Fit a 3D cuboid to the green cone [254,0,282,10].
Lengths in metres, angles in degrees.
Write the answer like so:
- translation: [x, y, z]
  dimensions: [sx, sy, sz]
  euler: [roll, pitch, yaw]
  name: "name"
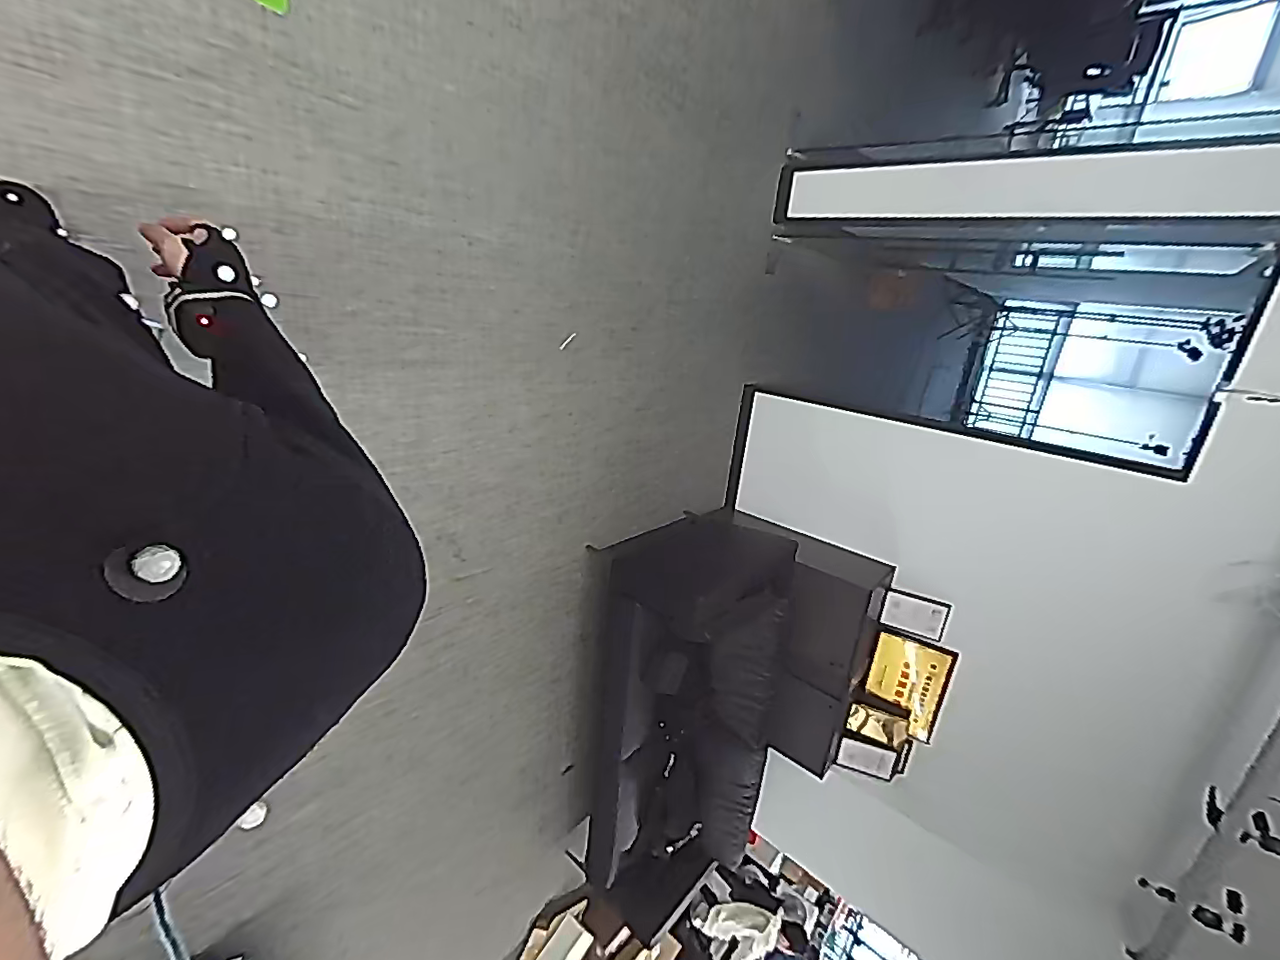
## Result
- translation: [-0.733, -1.105, 1.036]
  dimensions: [0.200, 0.368, 0.202]
  euler: [-7, 111, -51]
  name: "green cone"
